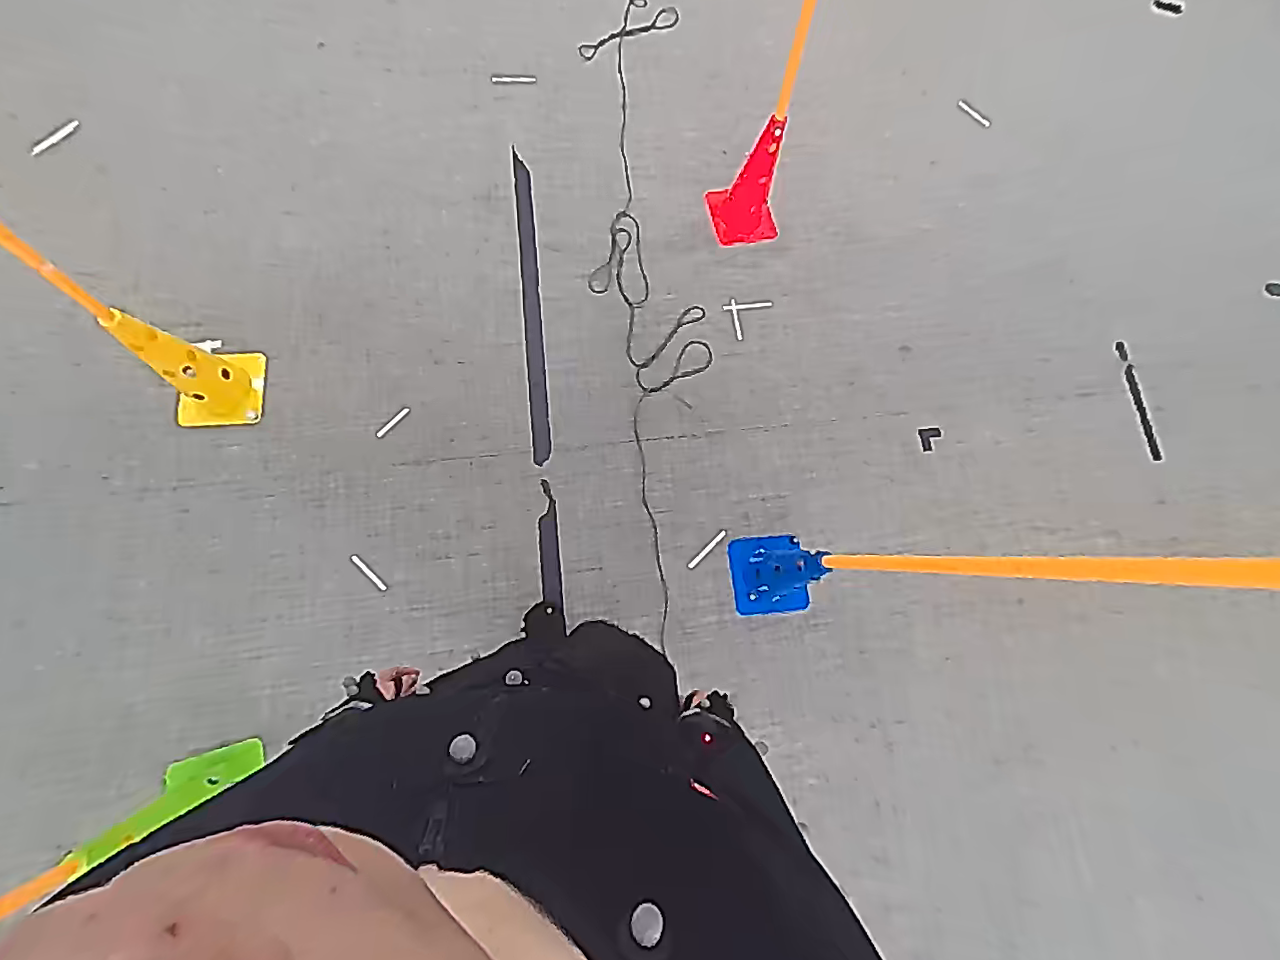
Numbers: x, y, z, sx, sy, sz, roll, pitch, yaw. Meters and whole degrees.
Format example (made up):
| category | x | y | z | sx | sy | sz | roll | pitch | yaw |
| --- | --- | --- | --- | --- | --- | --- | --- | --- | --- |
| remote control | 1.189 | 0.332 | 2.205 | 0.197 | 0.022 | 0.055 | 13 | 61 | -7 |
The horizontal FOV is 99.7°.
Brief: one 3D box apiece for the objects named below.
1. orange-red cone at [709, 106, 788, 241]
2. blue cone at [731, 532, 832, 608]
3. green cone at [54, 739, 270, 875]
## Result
| category | x | y | z | sx | sy | sz | roll | pitch | yaw |
| --- | --- | --- | --- | --- | --- | --- | --- | --- | --- |
| orange-red cone | 0.340 | -0.884 | 1.532 | 0.199 | 0.360 | 0.198 | -11 | 76 | -7 |
| blue cone | 0.358 | 0.195 | 1.271 | 0.193 | 0.380 | 0.192 | -3 | 75 | -7 |
| green cone | -0.904 | 0.648 | 1.015 | 0.200 | 0.368 | 0.202 | -16 | 76 | -10 |
